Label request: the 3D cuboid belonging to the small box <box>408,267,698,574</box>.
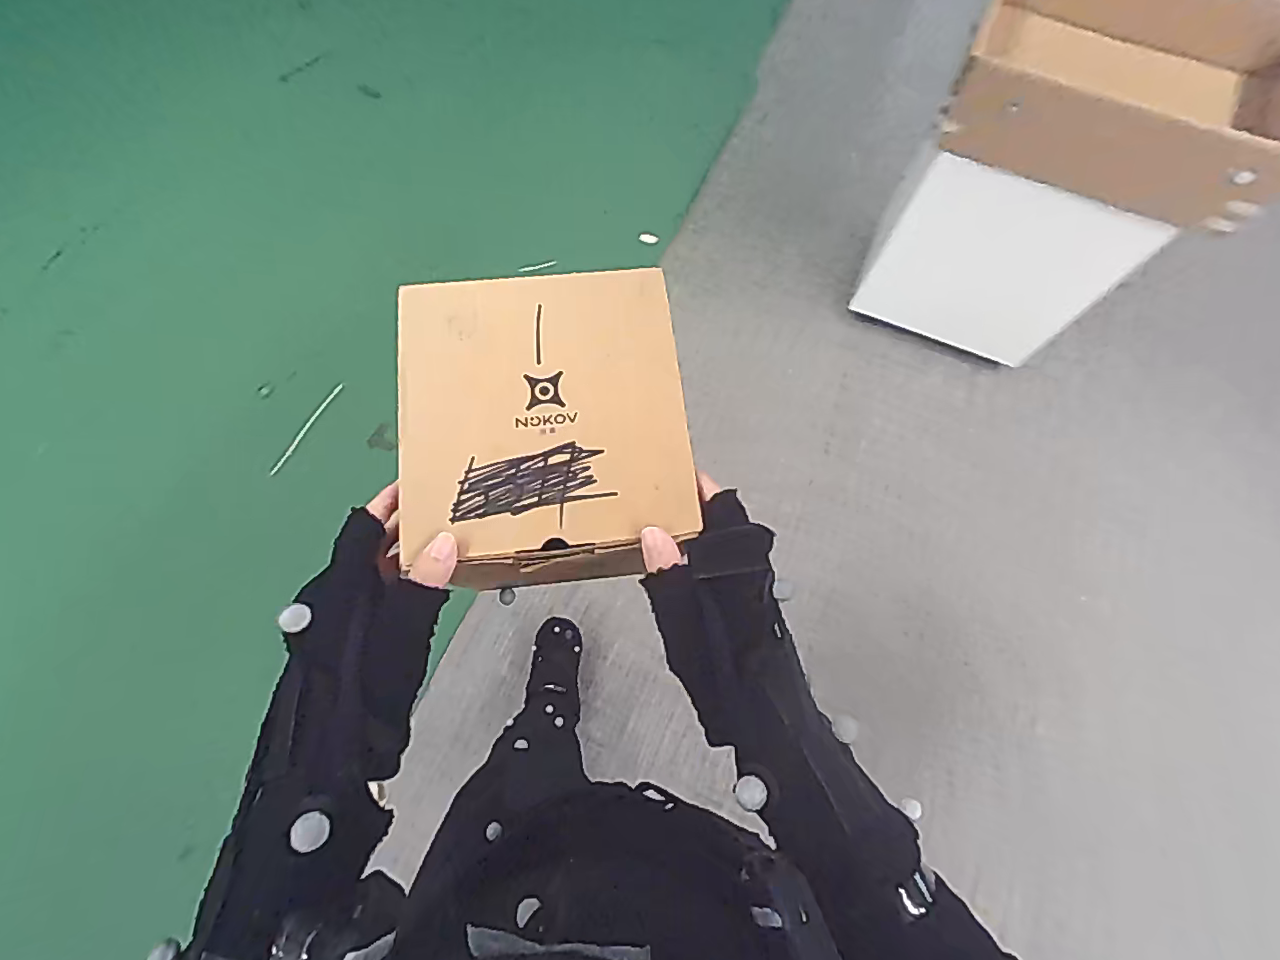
[{"bbox_3d":[-0.056,-0.027,0.399,0.168,0.176,0.179,-5,74,-4],"label":"small box"}]
